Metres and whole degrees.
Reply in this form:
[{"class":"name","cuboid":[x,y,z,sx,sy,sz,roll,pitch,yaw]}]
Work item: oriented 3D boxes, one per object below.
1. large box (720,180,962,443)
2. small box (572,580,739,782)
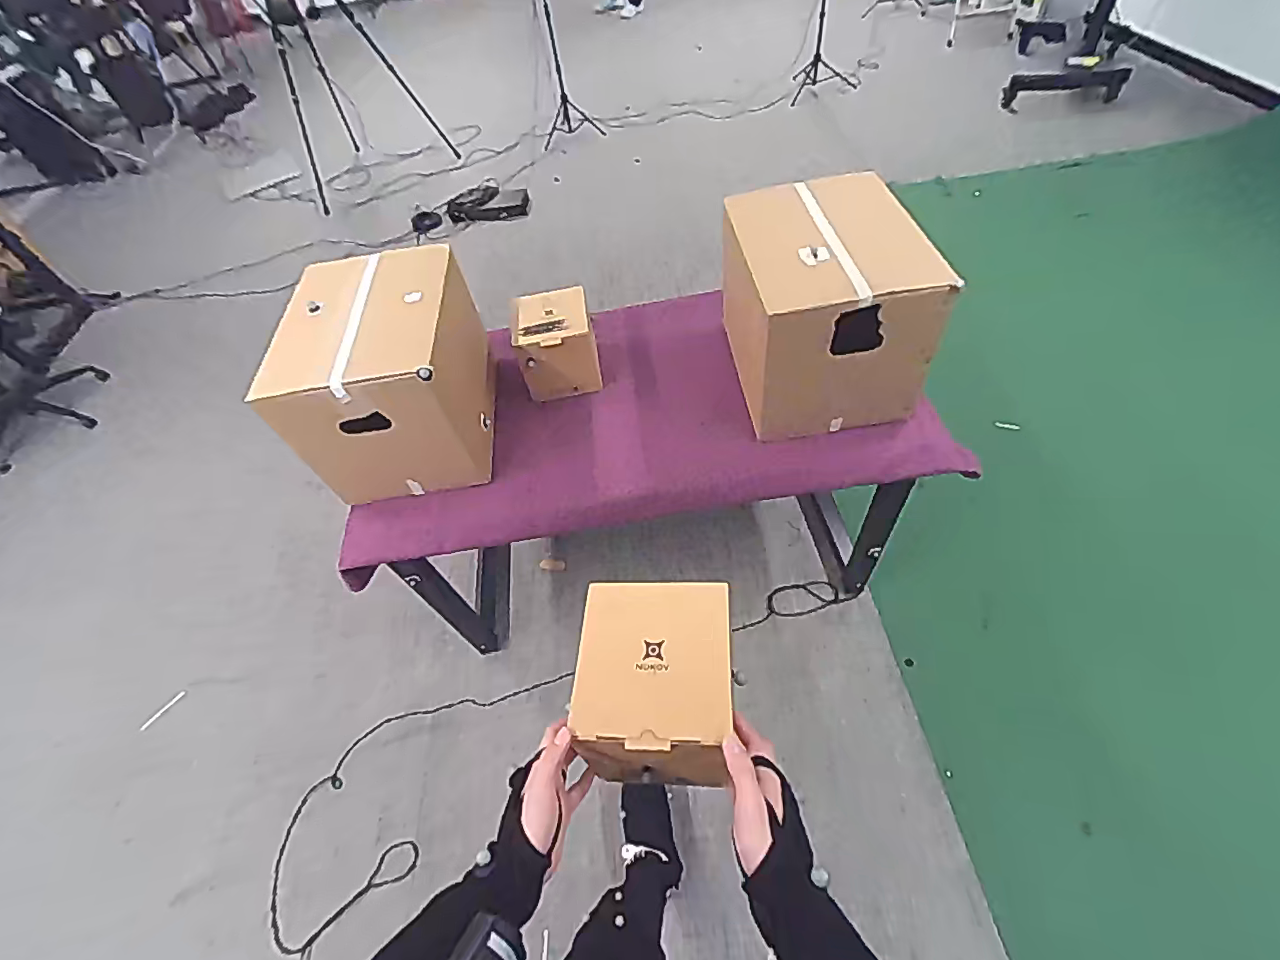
[{"class":"large box","cuboid":[0.354,-0.339,1.094,0.320,0.320,0.408,-9,53,2]},{"class":"small box","cuboid":[0.028,0.235,0.634,0.168,0.176,0.179,-2,50,8]}]
